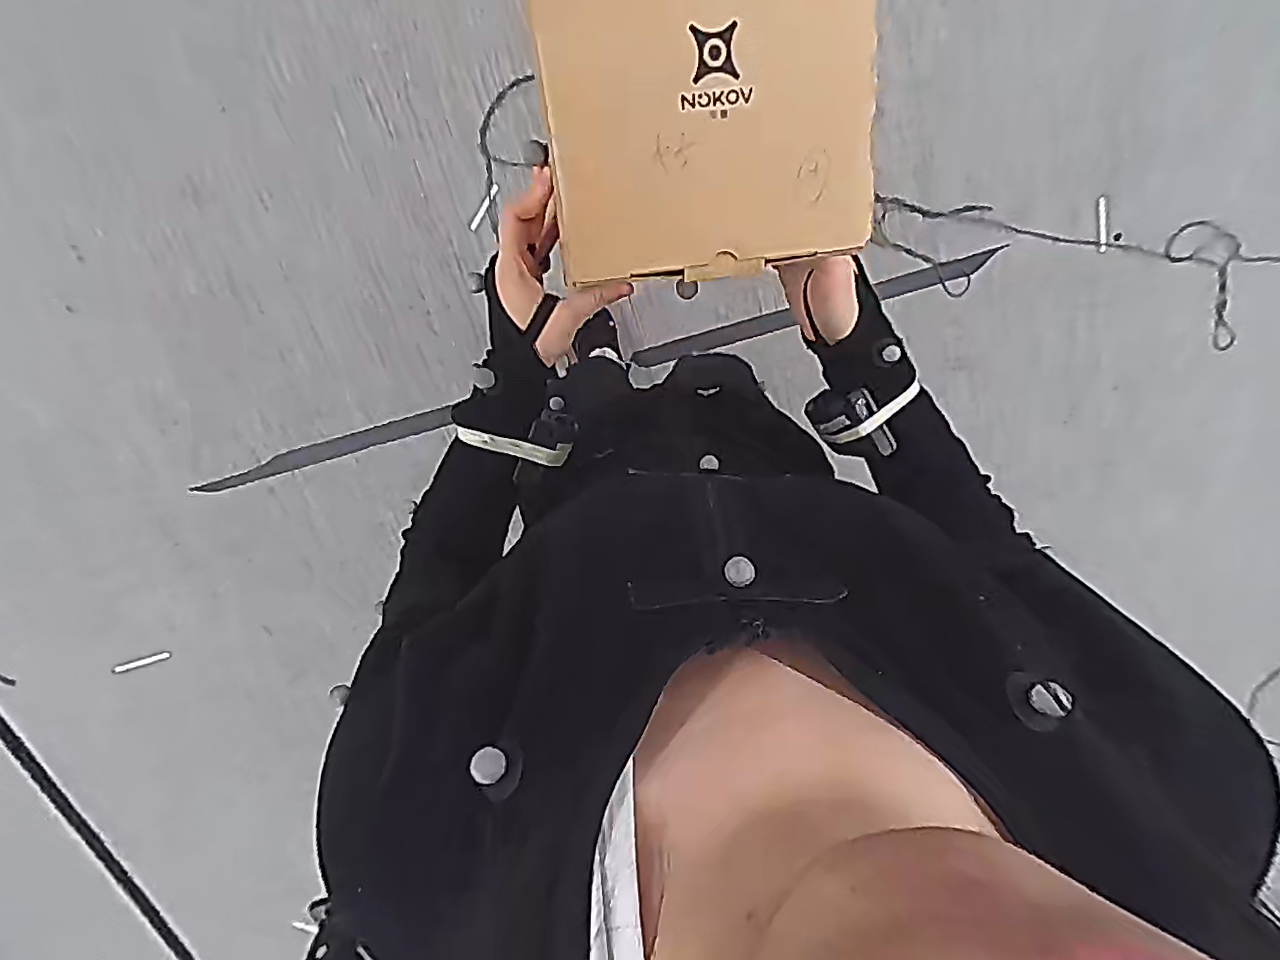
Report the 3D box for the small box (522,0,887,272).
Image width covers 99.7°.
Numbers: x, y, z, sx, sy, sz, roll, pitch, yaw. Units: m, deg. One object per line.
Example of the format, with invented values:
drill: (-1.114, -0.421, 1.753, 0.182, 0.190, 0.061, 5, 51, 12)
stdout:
small box: (0.023, -0.226, 0.322, 0.168, 0.176, 0.179, -10, 112, -7)
